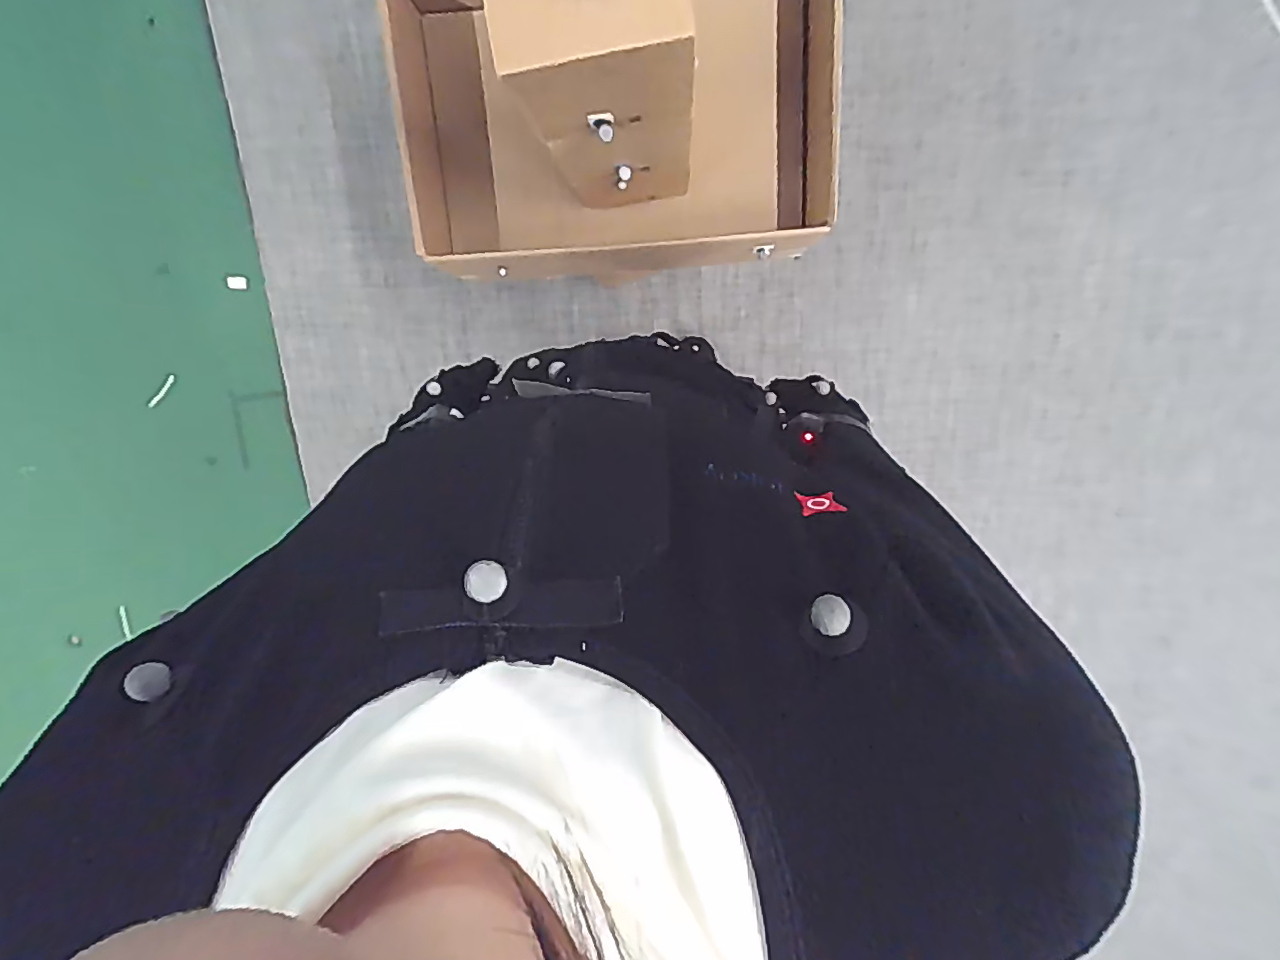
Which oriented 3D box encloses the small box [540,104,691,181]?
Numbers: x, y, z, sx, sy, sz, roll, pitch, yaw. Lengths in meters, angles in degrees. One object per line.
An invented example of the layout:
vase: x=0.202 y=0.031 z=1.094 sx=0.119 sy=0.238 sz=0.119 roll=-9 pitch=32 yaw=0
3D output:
small box: x=-0.032 y=-0.485 z=0.643 sx=0.168 sy=0.176 sz=0.179 roll=-7 pitch=104 yaw=6

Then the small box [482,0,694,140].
small box: x=-0.043 y=-0.444 z=0.488 sx=0.168 sy=0.176 sz=0.179 roll=-7 pitch=105 yaw=7

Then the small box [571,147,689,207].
small box: x=-0.019 y=-0.531 z=0.800 sx=0.168 sy=0.176 sz=0.179 roll=-7 pitch=103 yaw=7
